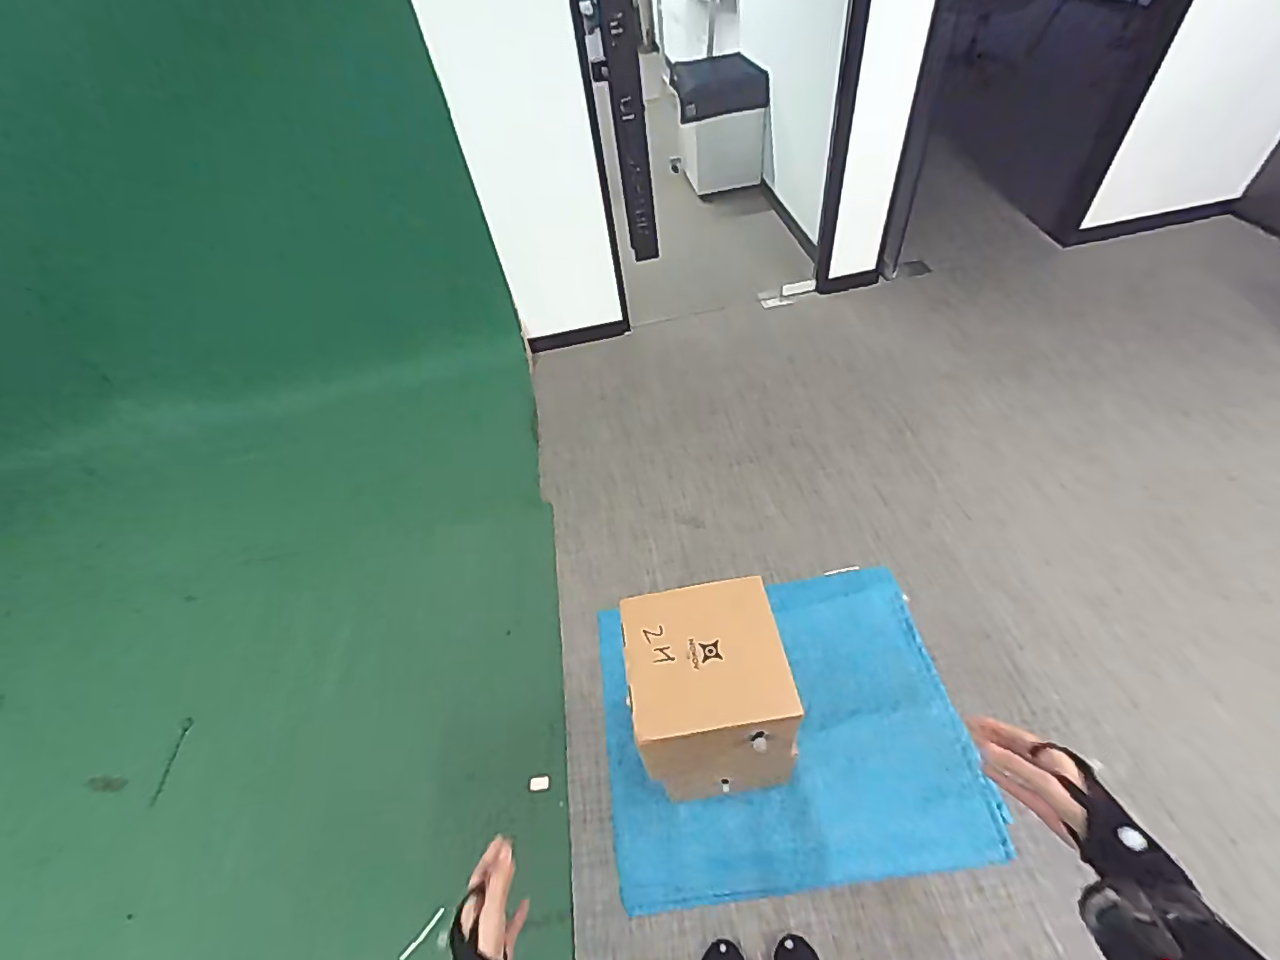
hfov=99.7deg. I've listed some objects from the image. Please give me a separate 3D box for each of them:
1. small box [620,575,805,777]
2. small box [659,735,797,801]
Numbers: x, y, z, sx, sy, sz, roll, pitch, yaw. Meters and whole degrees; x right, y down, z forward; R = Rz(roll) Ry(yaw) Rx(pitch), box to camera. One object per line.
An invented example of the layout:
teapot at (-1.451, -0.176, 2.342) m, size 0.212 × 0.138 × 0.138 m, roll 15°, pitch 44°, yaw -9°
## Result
small box at (0.079, 0.238, 0.648) m, size 0.179 × 0.176 × 0.168 m, roll -10°, pitch 48°, yaw 1°
small box at (0.107, 0.342, 0.773) m, size 0.179 × 0.176 × 0.168 m, roll -10°, pitch 49°, yaw 1°
